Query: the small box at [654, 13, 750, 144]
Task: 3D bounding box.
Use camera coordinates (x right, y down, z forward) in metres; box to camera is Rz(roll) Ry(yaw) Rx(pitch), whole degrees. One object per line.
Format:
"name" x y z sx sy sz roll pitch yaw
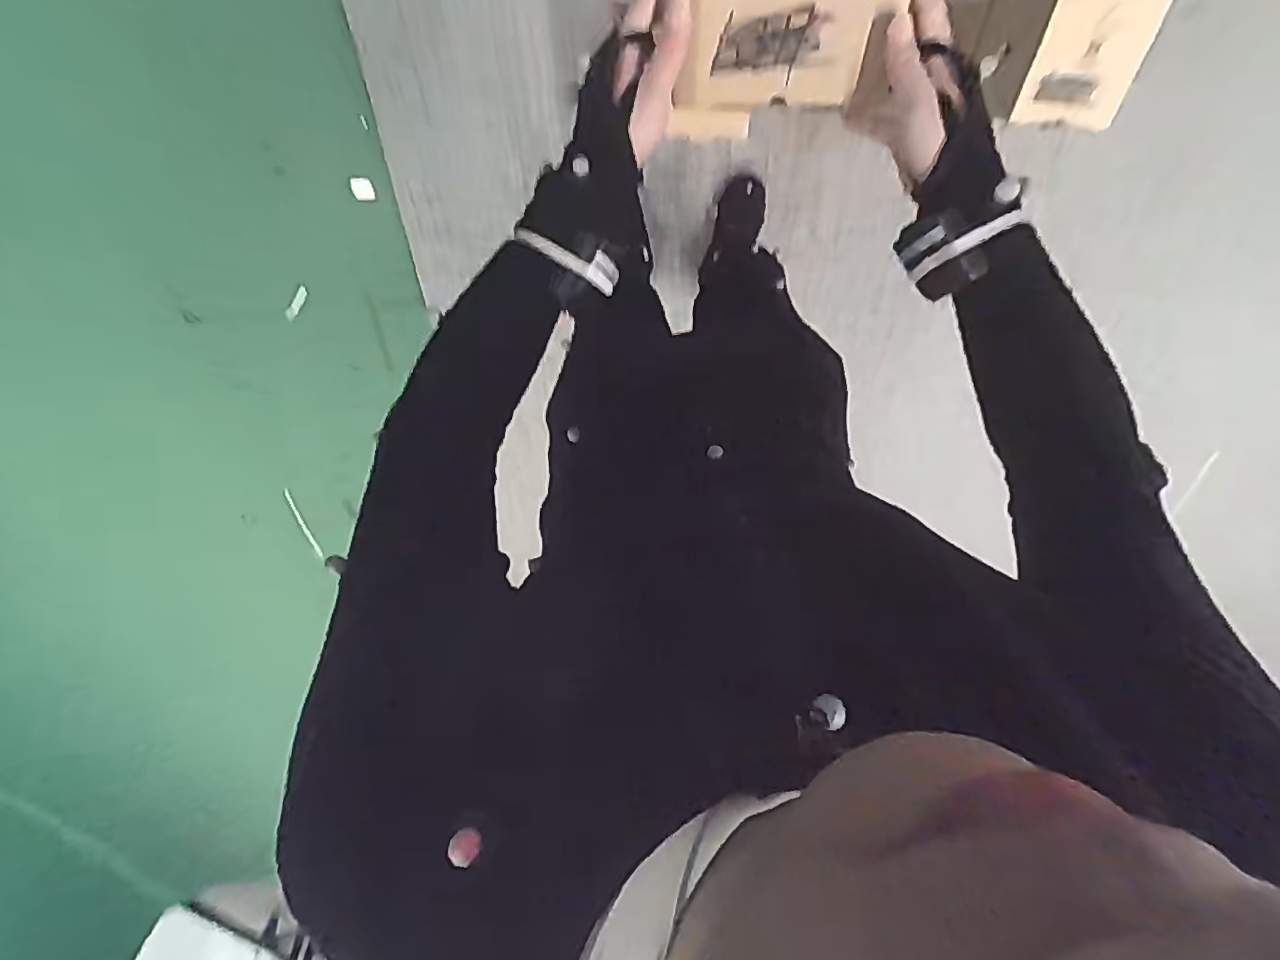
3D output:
"small box" 0.113 -0.727 0.981 0.168 0.176 0.179 1 128 -2

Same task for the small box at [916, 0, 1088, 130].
"small box" 0.637 -0.751 0.982 0.168 0.176 0.179 1 127 -4

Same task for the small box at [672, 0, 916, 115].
"small box" 0.111 -0.403 0.415 0.168 0.176 0.179 0 134 1
